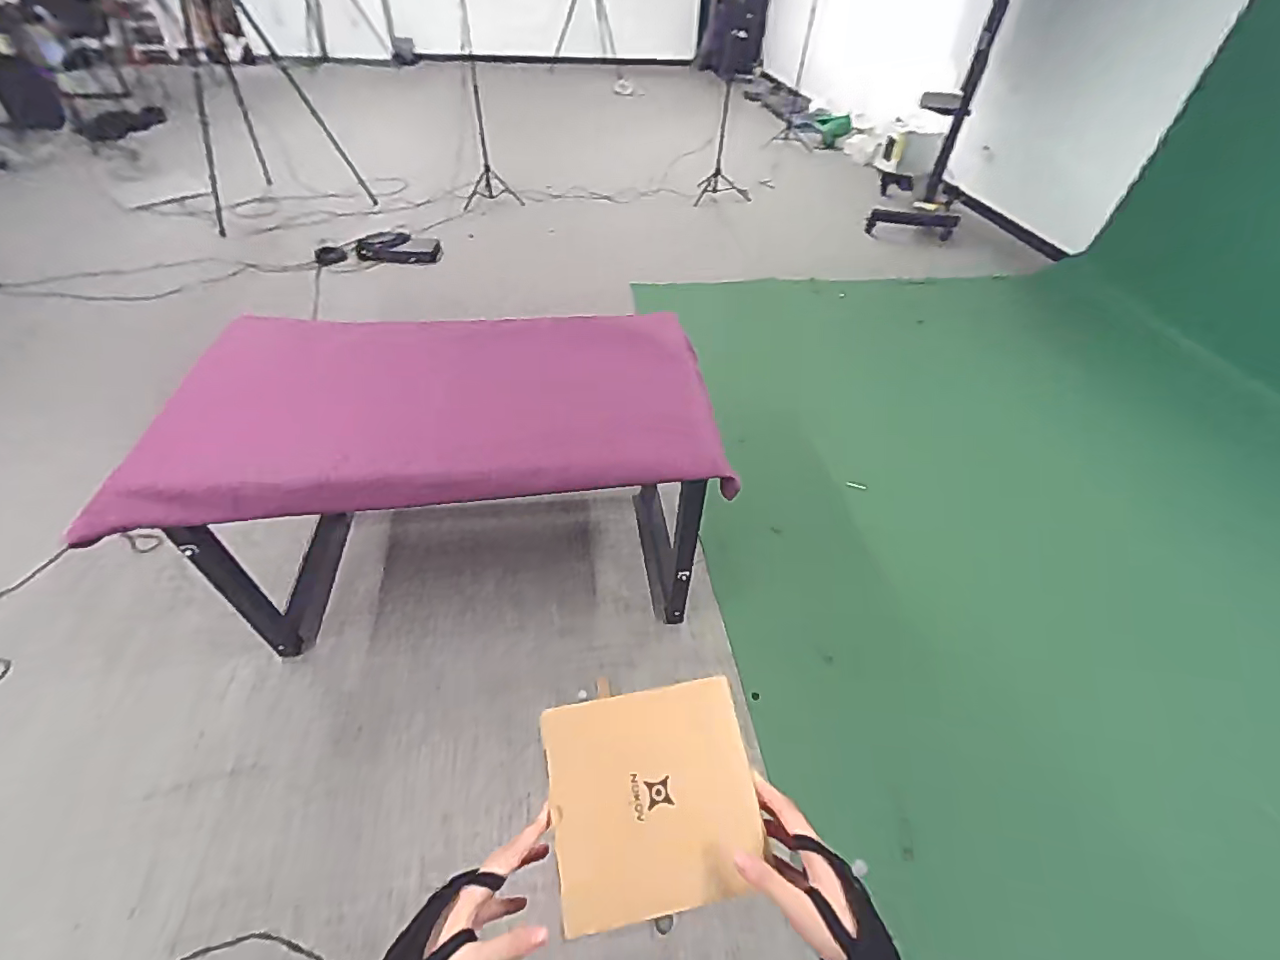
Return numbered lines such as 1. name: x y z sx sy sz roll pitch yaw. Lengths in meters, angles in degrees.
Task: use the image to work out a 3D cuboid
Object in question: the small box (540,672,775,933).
1. small box: 0.006 0.302 0.532 0.179 0.176 0.168 -10 61 -8
